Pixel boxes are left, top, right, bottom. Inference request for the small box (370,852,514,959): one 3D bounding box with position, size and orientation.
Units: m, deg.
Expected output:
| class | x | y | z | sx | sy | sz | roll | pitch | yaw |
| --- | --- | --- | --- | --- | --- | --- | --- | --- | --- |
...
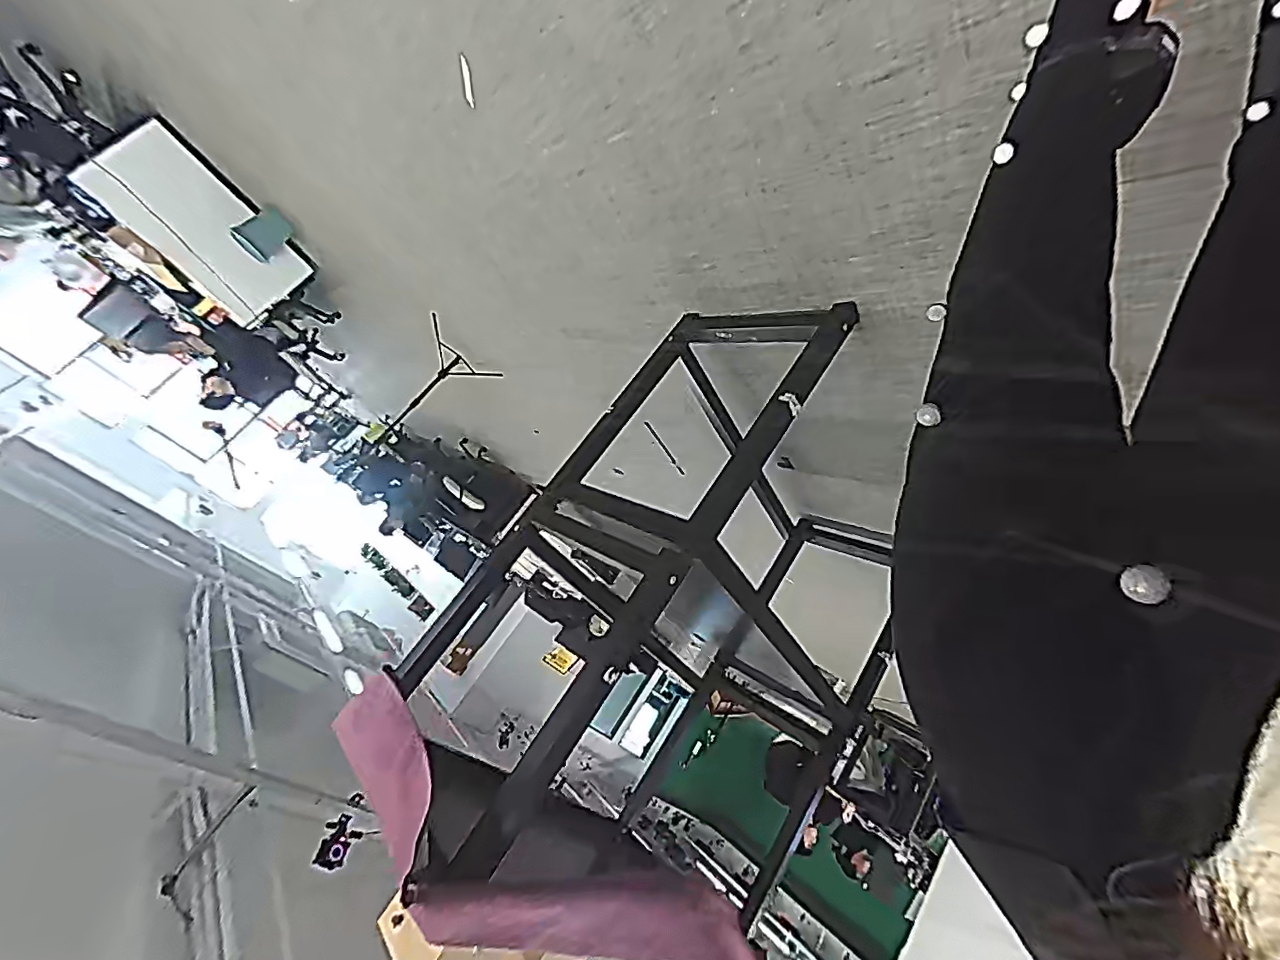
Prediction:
| class | x | y | z | sx | sy | sz | roll | pitch | yaw |
| --- | --- | --- | --- | --- | --- | --- | --- | --- | --- |
| small box | -0.378 | 0.858 | 1.049 | 0.179 | 0.176 | 0.168 | 18 | 156 | 45 |
